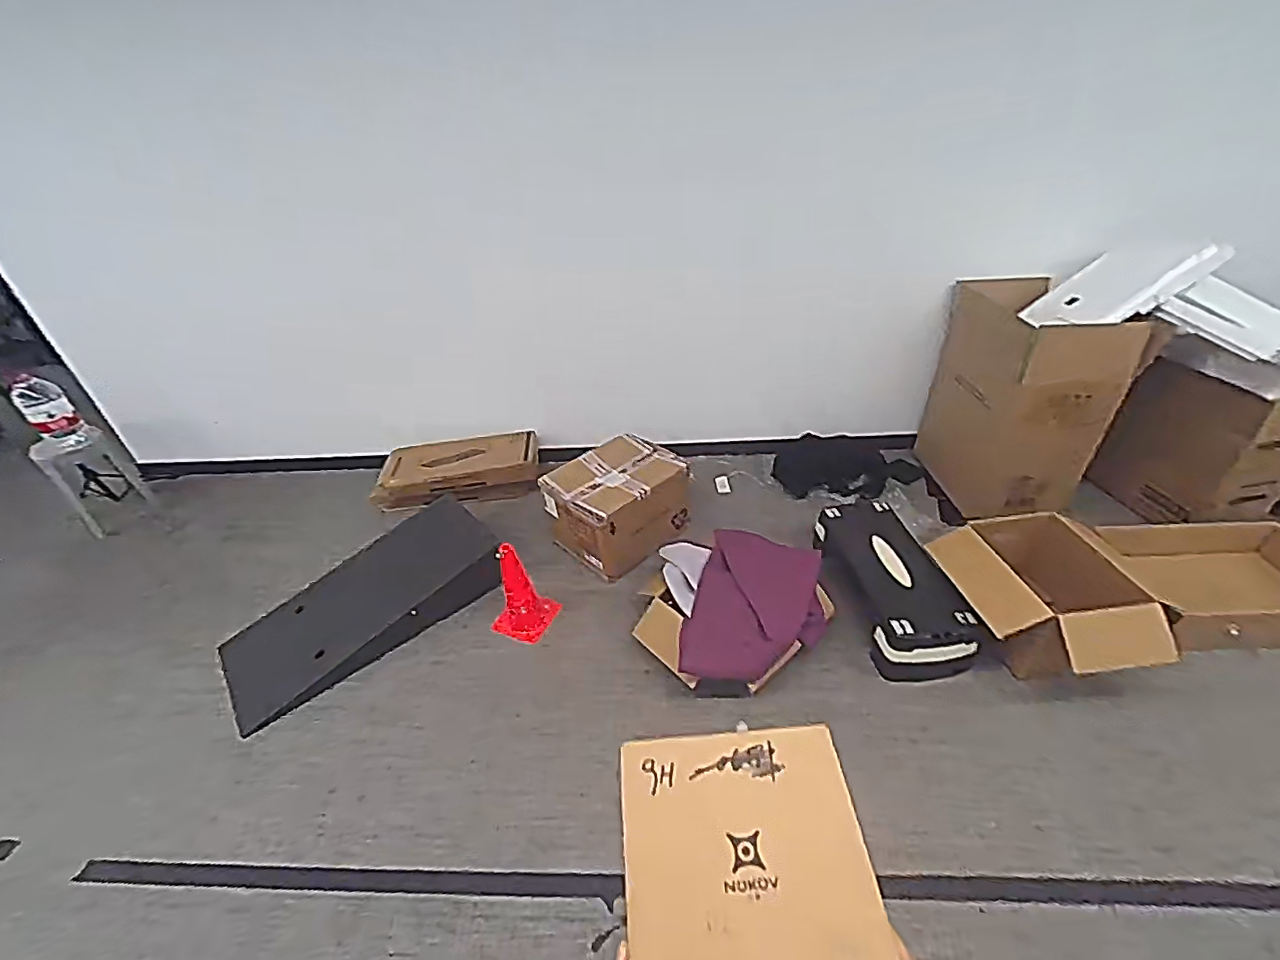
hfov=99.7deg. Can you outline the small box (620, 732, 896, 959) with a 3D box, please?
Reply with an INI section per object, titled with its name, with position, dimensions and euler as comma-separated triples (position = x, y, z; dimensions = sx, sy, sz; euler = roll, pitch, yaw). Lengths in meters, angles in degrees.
[small box]
position = 0.076, 0.319, 0.415
dimensions = 0.168, 0.176, 0.179
euler = -5, 46, -1
